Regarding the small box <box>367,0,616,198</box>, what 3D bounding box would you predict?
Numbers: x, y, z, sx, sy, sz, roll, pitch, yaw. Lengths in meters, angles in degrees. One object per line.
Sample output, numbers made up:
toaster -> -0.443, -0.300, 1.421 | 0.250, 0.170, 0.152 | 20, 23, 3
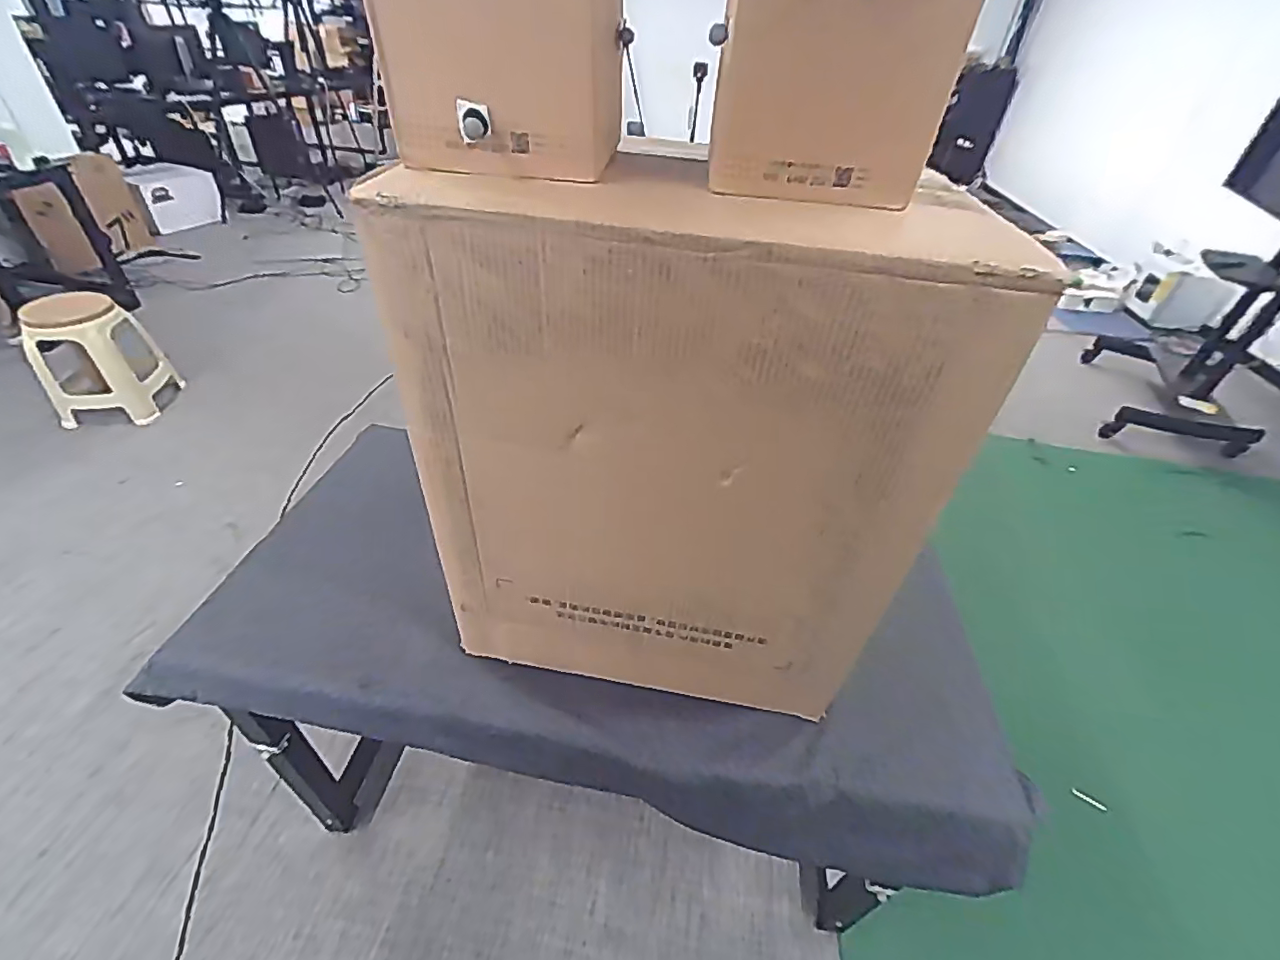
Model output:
small box -> -0.111, -0.358, 0.461 | 0.168, 0.176, 0.179 | 3, 43, 3

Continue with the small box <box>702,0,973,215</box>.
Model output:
small box -> 0.143, -0.342, 0.456 | 0.168, 0.176, 0.179 | 5, 41, 2
